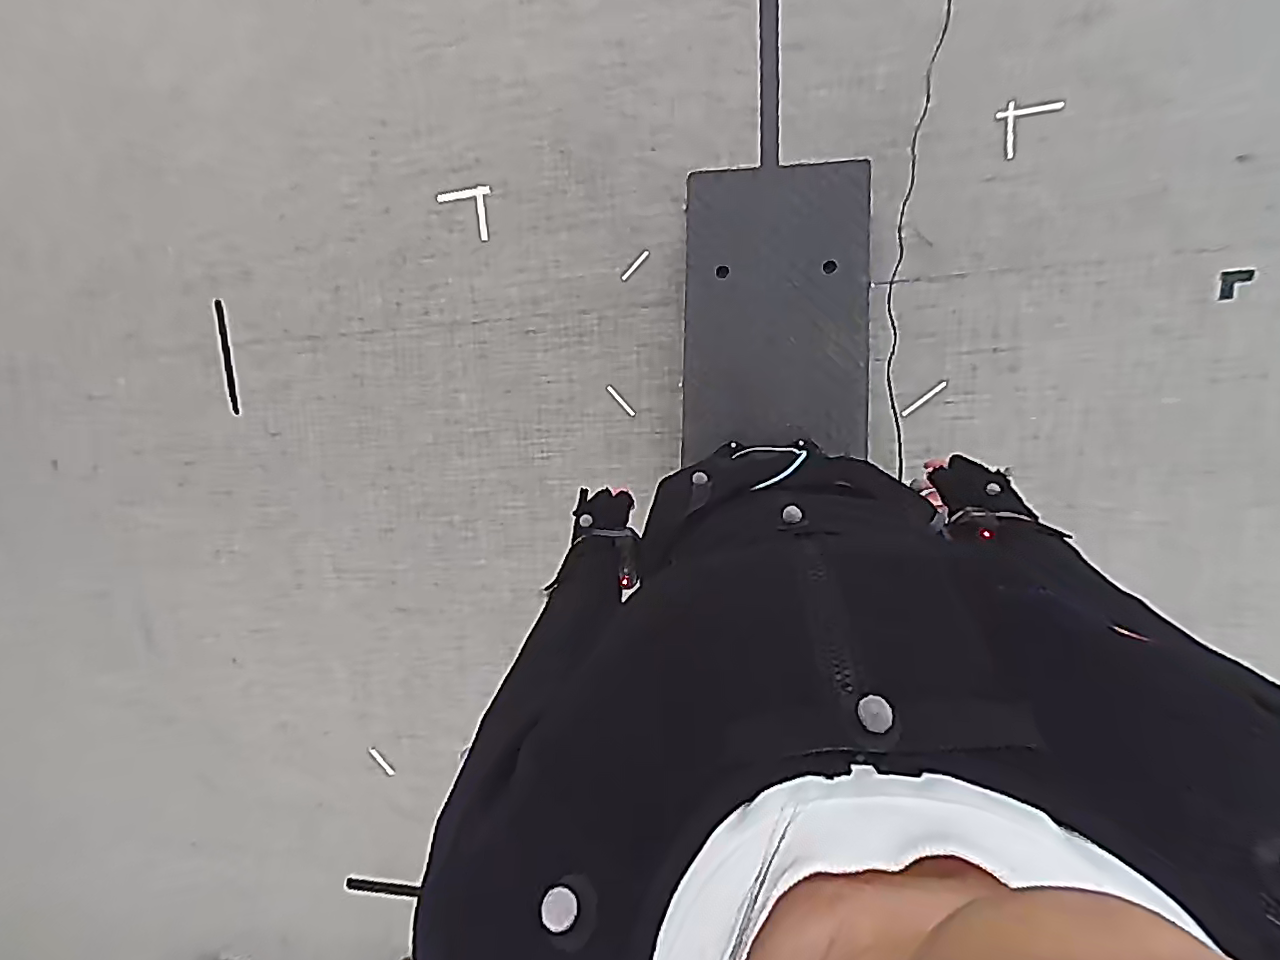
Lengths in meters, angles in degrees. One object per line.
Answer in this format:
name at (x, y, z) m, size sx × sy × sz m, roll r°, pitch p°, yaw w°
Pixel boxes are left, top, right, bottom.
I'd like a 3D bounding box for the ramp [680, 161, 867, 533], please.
ramp at (0.357, -0.361, 1.470) m, size 0.509 × 0.206 × 0.991 m, roll -1°, pitch 97°, yaw 11°
